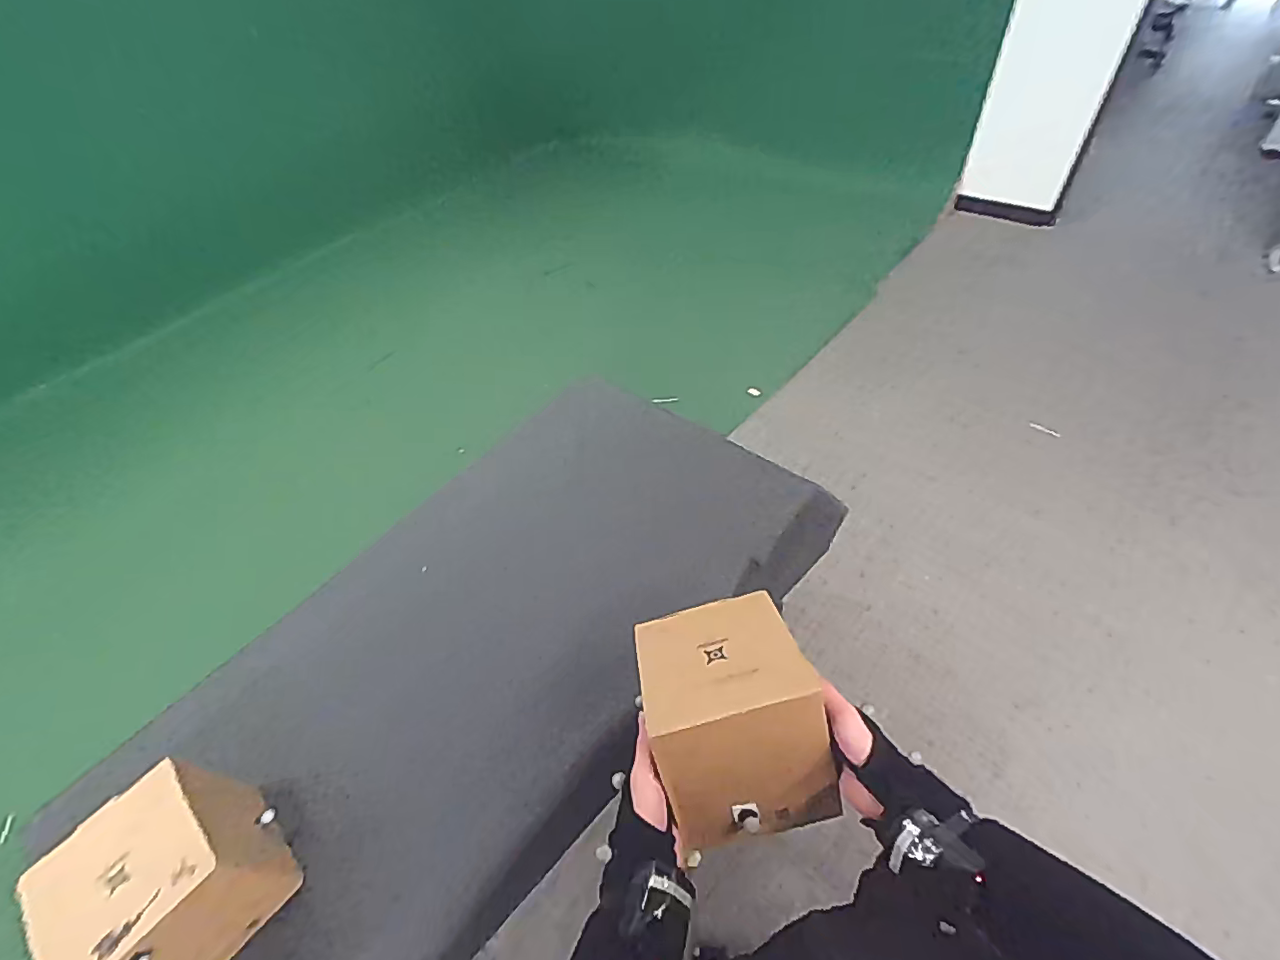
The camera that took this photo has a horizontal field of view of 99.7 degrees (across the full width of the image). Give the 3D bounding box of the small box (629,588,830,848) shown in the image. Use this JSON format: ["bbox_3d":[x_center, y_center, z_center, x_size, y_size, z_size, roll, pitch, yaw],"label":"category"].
[{"bbox_3d":[0.091,0.252,0.594,0.168,0.176,0.179,-16,21,1],"label":"small box"}]

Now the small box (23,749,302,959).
[{"bbox_3d":[-0.564,0.472,0.657,0.179,0.176,0.168,31,62,29],"label":"small box"}]
